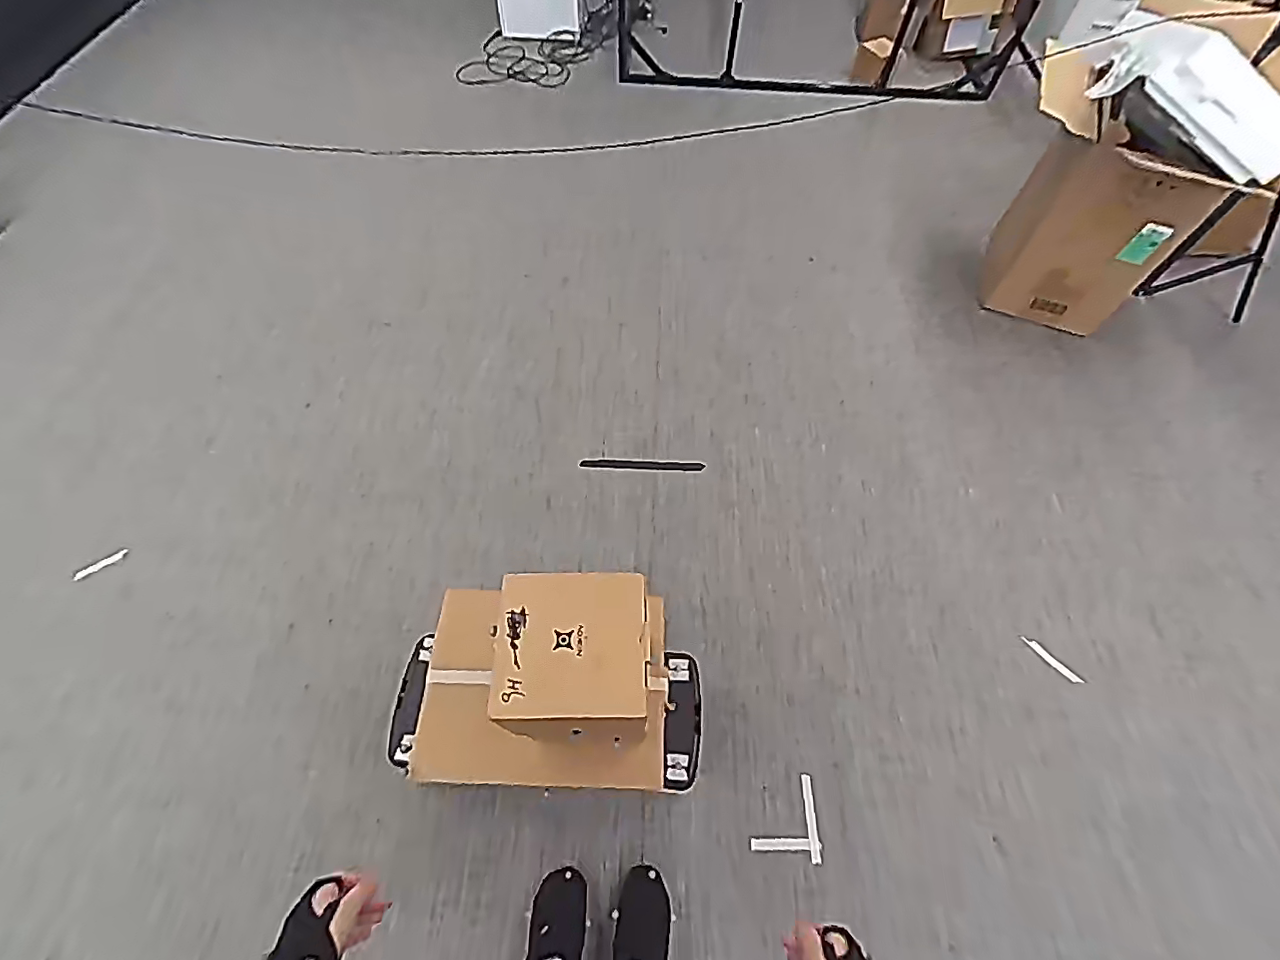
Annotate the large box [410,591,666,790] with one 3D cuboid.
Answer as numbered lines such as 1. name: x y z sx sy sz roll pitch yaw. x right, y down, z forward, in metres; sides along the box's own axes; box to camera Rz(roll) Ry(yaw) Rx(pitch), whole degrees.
1. large box: -0.157 0.414 1.041 0.408 0.320 0.320 2 59 1

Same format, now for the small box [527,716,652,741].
1. small box: -0.073 0.301 0.827 0.179 0.176 0.168 1 60 0

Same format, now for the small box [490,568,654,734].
1. small box: -0.076 0.221 0.683 0.179 0.176 0.168 1 59 -2
